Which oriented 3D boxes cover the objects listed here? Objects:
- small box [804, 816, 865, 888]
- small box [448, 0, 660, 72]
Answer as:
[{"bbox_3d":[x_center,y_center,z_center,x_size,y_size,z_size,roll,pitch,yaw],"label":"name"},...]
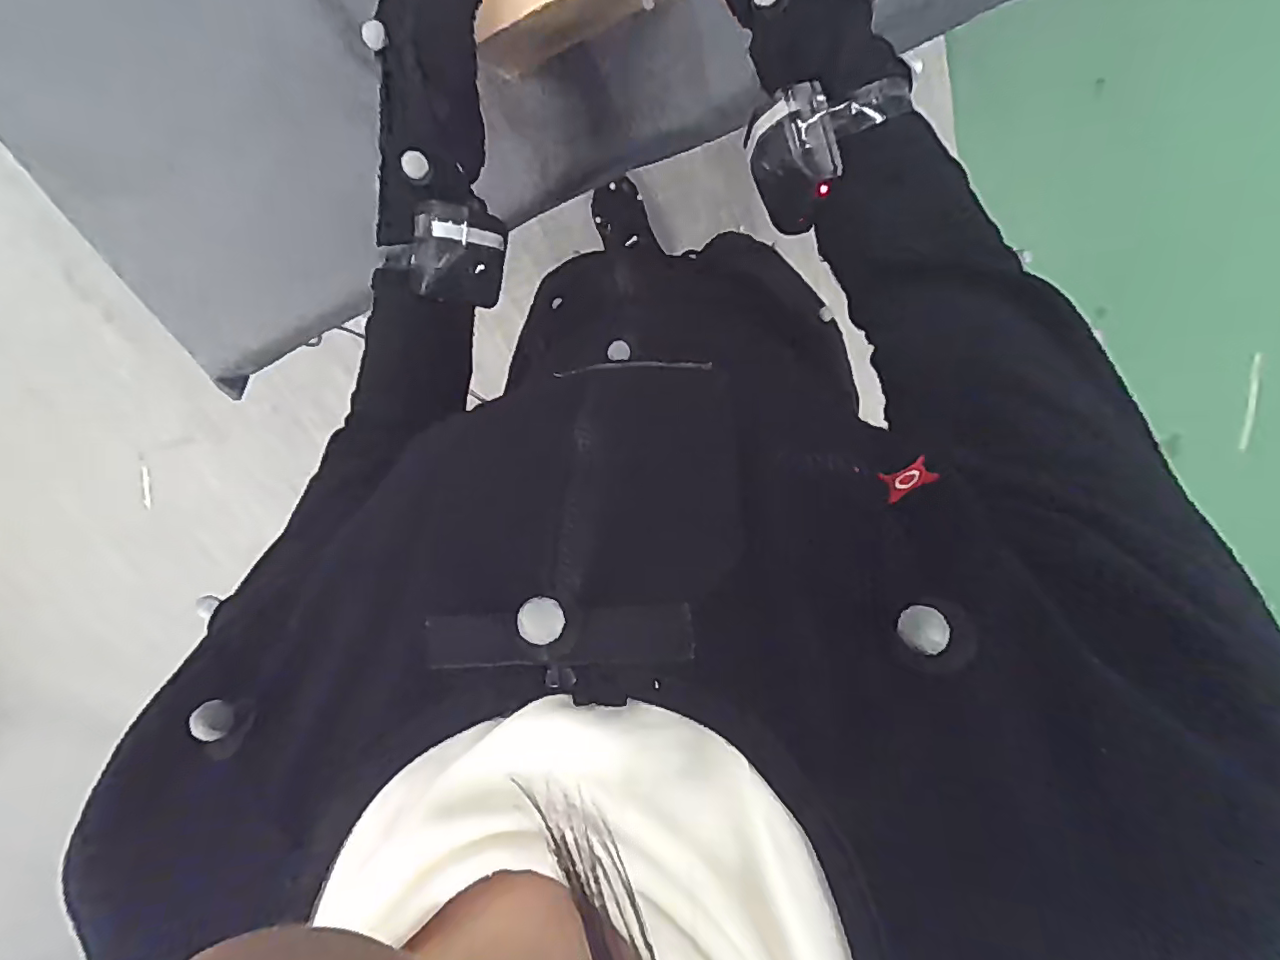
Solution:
[{"bbox_3d":[0.759,1.465,2.133,0.179,0.176,0.168,-20,118,10],"label":"small box"},{"bbox_3d":[-0.063,-0.413,0.364,0.179,0.176,0.168,-20,120,11],"label":"small box"}]
